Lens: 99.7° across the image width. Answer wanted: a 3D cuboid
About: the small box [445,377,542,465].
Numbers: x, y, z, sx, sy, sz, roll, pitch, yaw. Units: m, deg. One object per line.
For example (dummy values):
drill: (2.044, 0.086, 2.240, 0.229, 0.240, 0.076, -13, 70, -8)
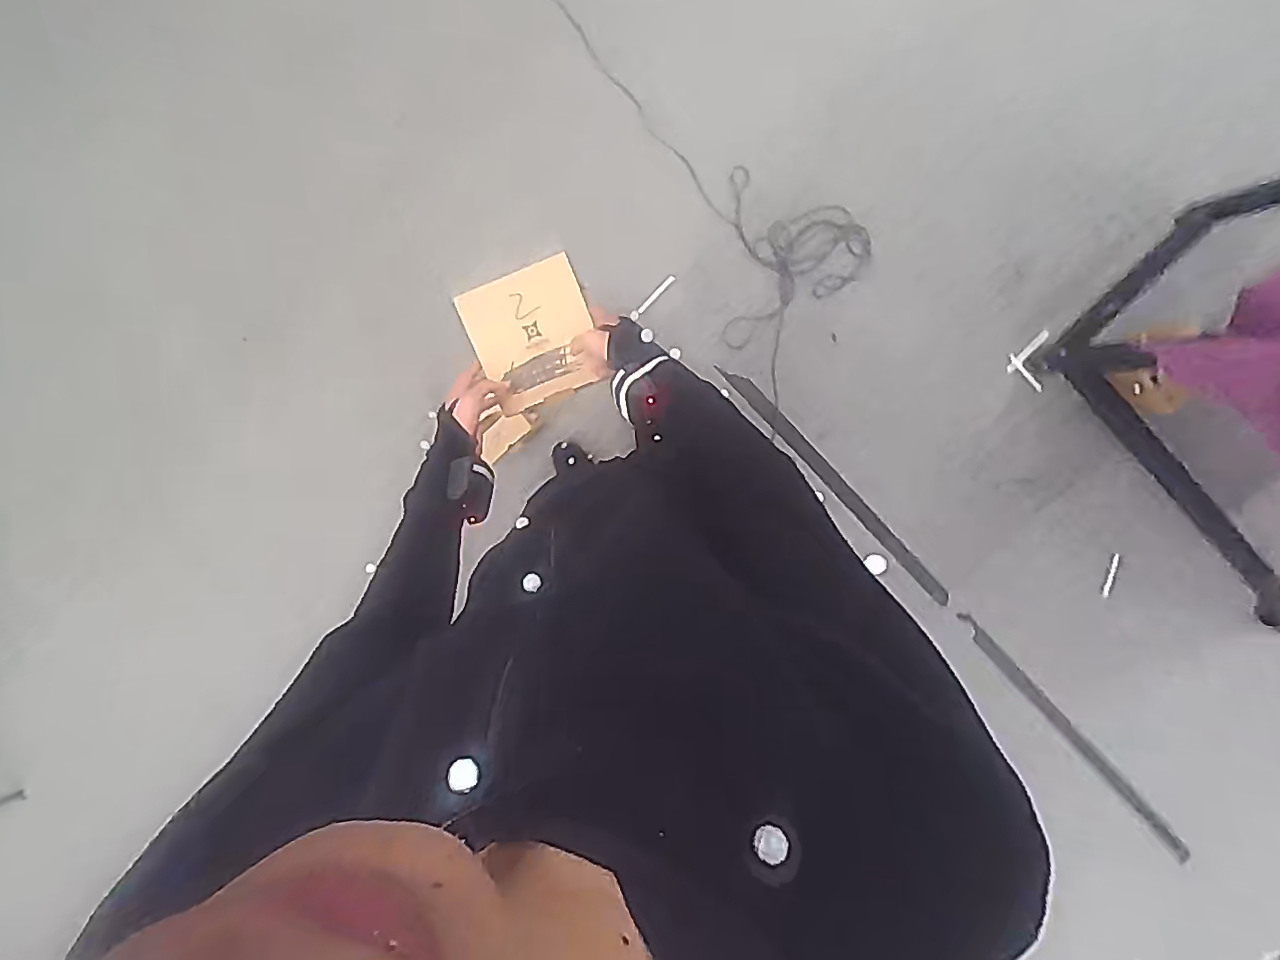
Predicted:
small box: (-0.400, -0.167, 1.509, 0.168, 0.176, 0.179, -41, 98, 8)
